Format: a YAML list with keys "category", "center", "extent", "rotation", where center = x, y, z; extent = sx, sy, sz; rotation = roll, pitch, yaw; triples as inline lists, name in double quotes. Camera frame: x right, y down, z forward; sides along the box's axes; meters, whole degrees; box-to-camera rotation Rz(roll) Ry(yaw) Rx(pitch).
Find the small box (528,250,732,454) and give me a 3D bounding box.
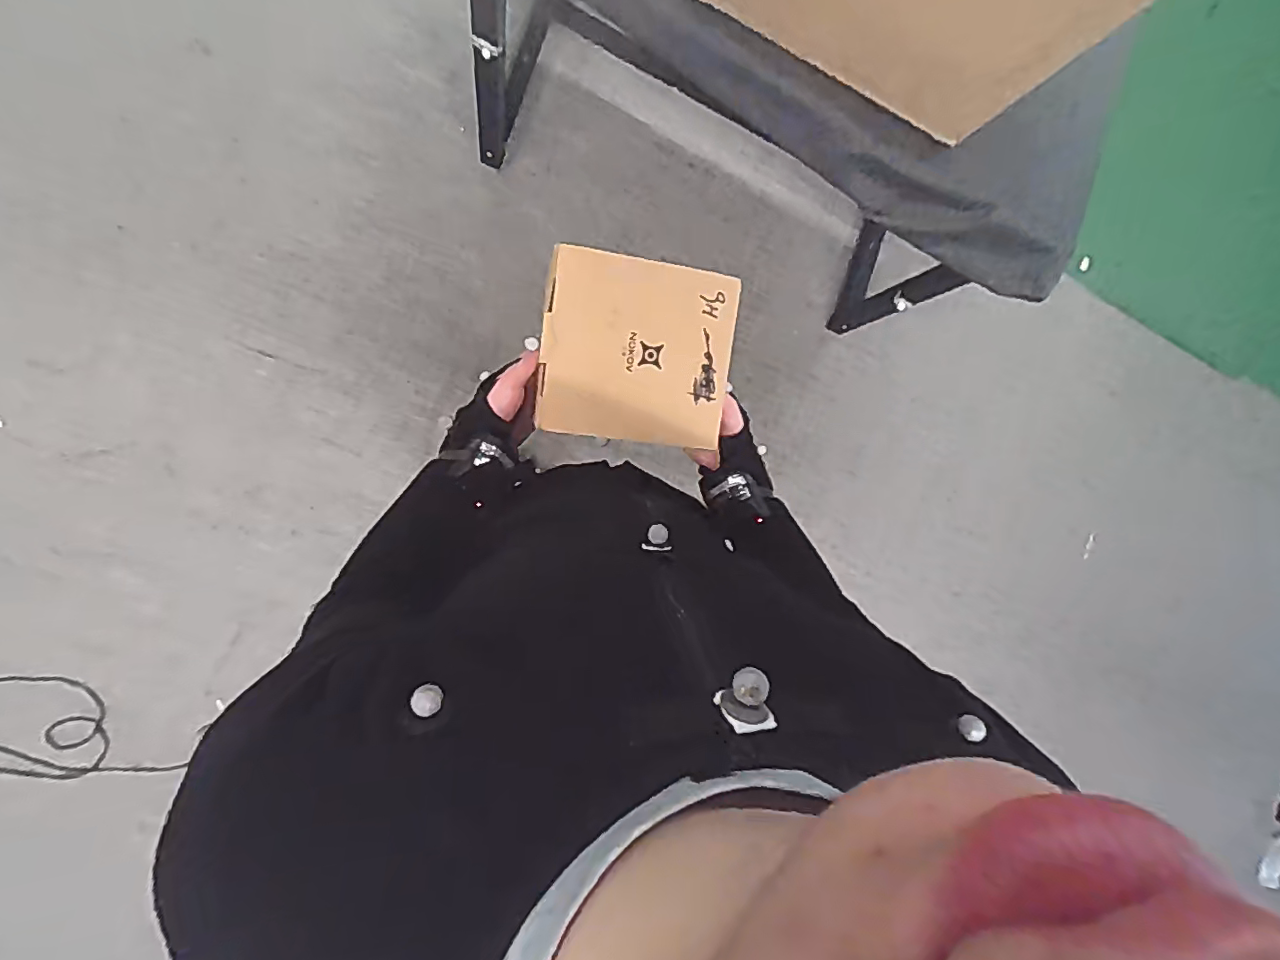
- category: "small box"
  center: [-0.024, -0.127, 0.581]
  extent: [0.179, 0.176, 0.168]
  rotation: [6, 98, -14]
